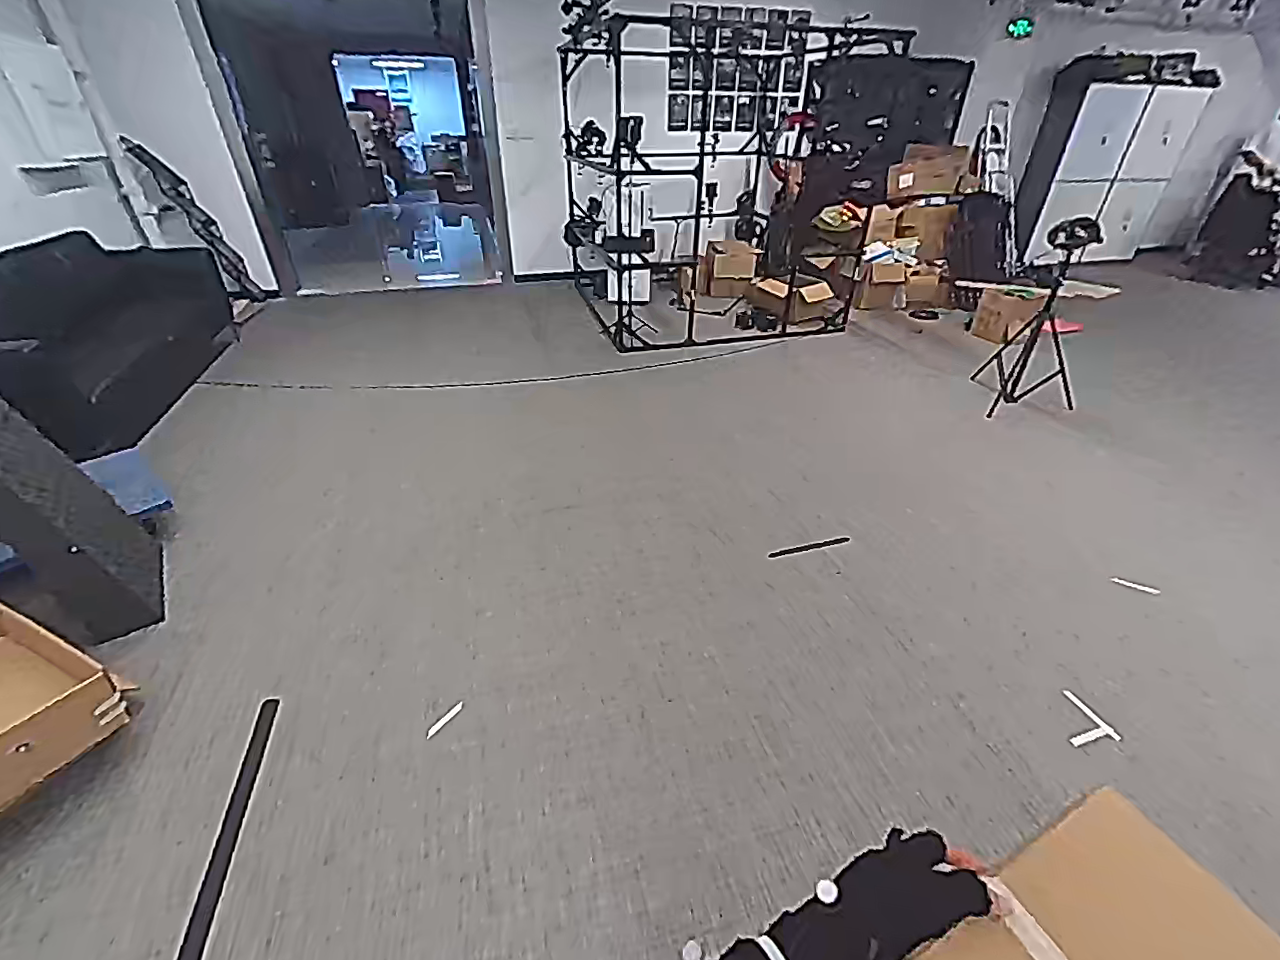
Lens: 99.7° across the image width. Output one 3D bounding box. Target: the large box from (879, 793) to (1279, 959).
[{"bbox_3d":[0.381,0.551,0.402,0.320,0.320,0.408,-22,44,-18],"label":"large box"}]
